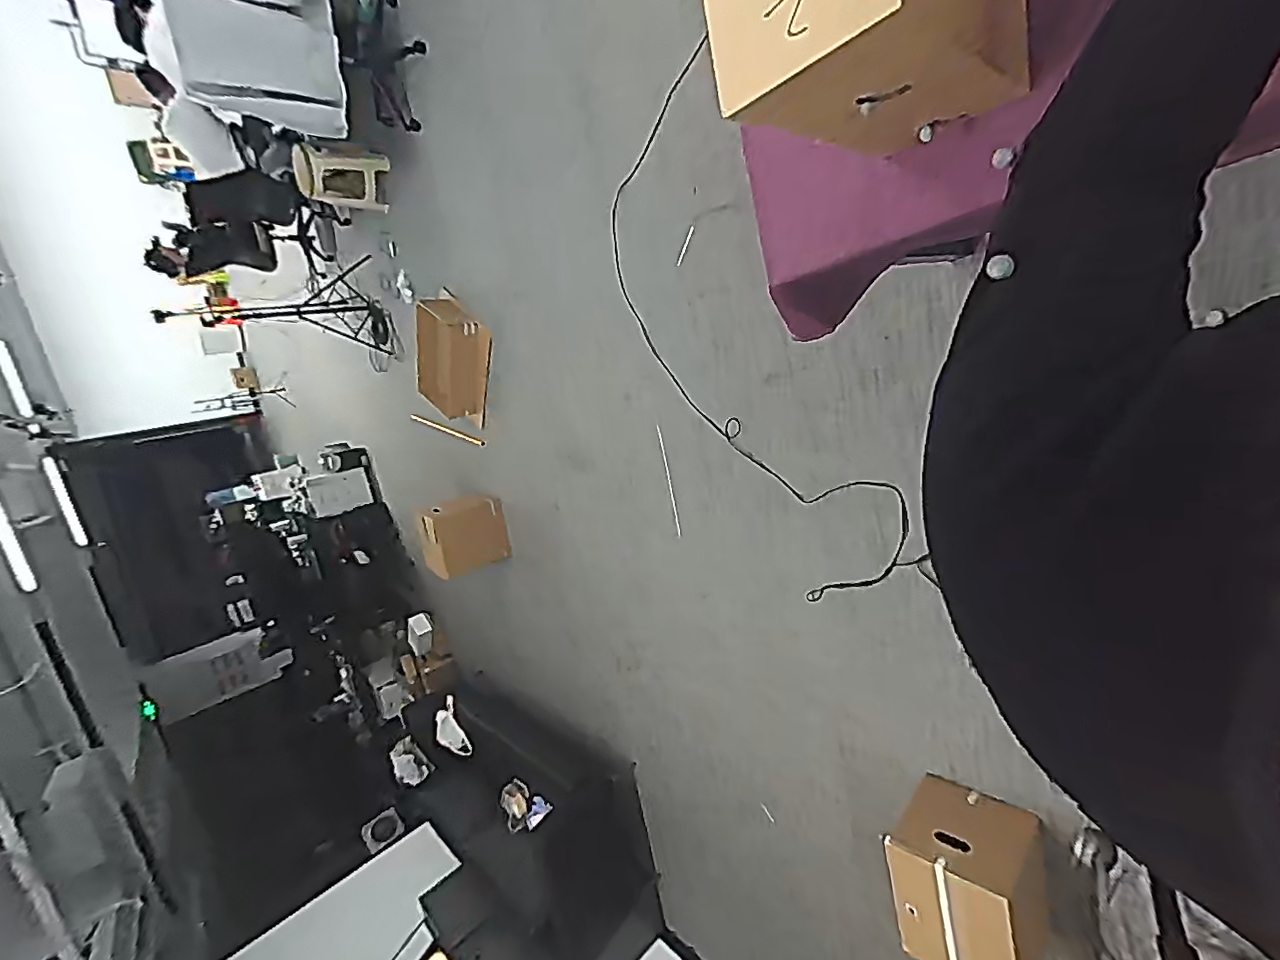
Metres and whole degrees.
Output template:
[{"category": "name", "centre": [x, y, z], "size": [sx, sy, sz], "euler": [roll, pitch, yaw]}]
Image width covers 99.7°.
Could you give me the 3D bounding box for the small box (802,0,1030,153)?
[{"category": "small box", "centre": [0.297, -0.483, 0.580], "size": [0.168, 0.176, 0.179], "euler": [1, 108, 49]}]
